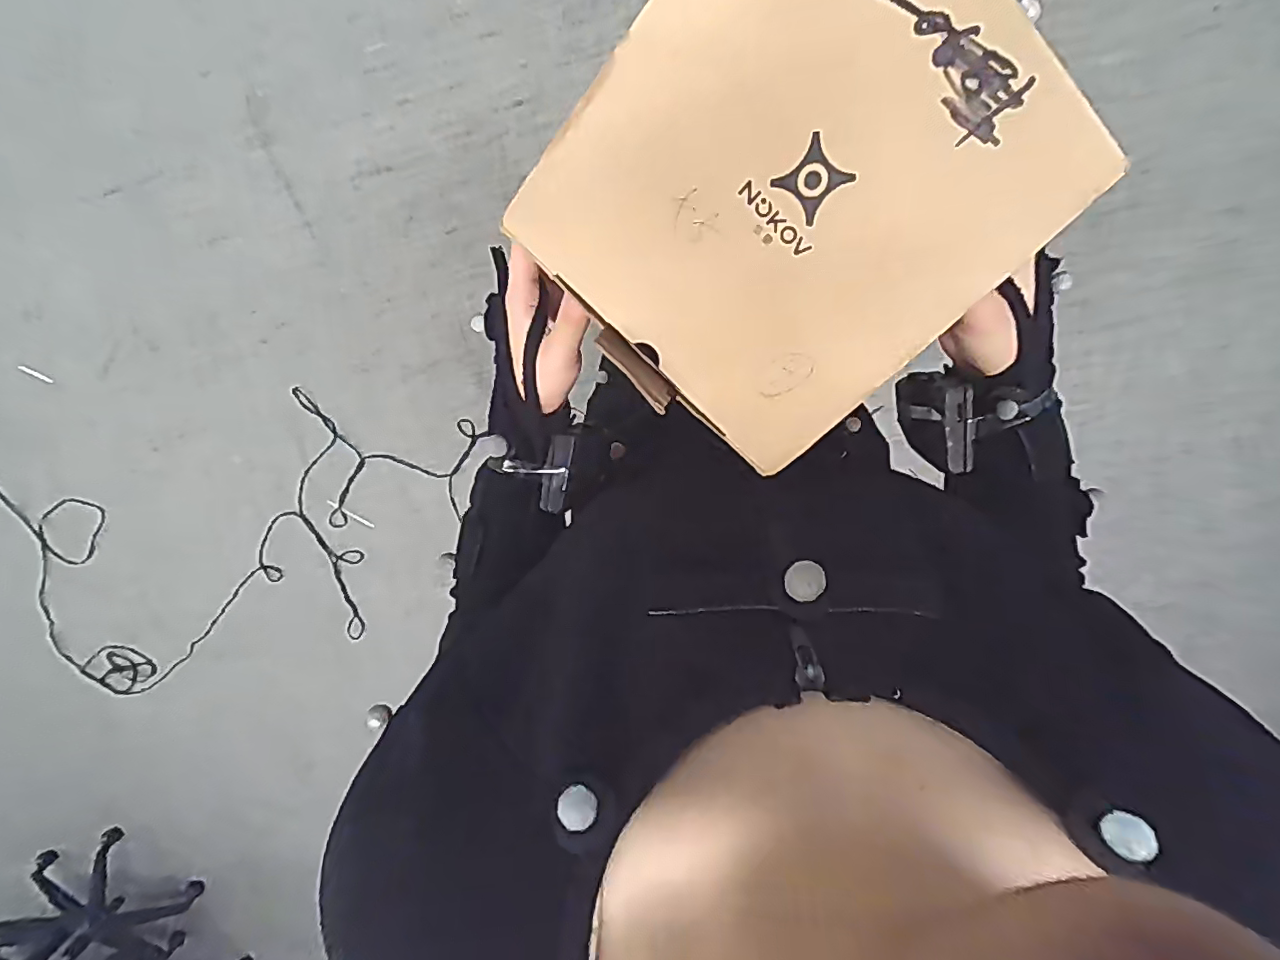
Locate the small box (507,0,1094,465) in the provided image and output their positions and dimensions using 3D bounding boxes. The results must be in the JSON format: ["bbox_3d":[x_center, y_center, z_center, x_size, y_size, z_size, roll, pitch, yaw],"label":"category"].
[{"bbox_3d":[0.066,-0.145,0.290,0.168,0.176,0.179,41,113,-12],"label":"small box"}]
